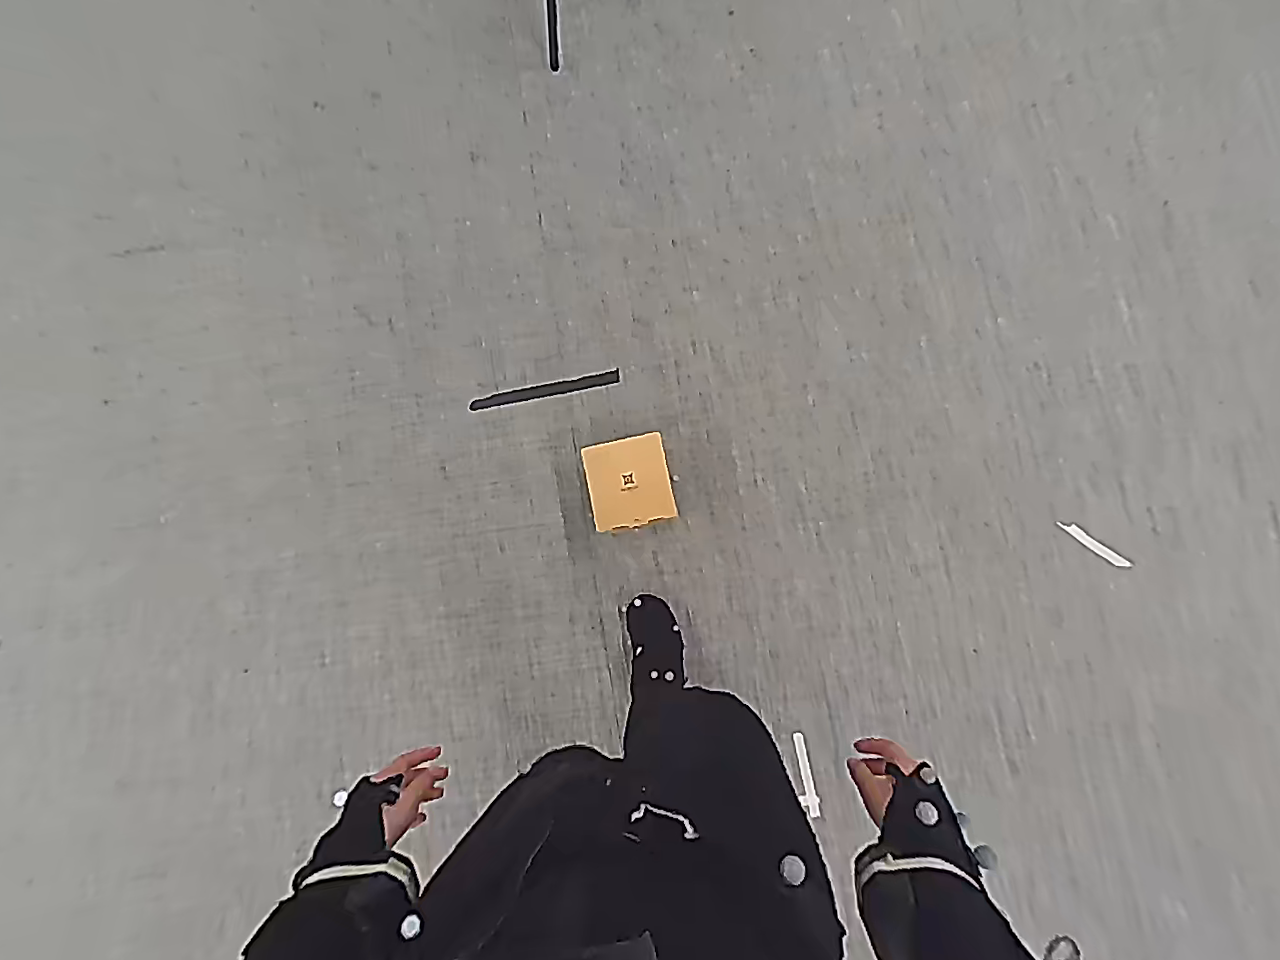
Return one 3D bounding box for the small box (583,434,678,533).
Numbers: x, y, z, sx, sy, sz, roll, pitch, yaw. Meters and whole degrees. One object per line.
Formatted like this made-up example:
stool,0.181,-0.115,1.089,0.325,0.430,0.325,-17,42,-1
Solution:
small box,-0.017,0.014,1.160,0.168,0.176,0.179,-12,85,2
